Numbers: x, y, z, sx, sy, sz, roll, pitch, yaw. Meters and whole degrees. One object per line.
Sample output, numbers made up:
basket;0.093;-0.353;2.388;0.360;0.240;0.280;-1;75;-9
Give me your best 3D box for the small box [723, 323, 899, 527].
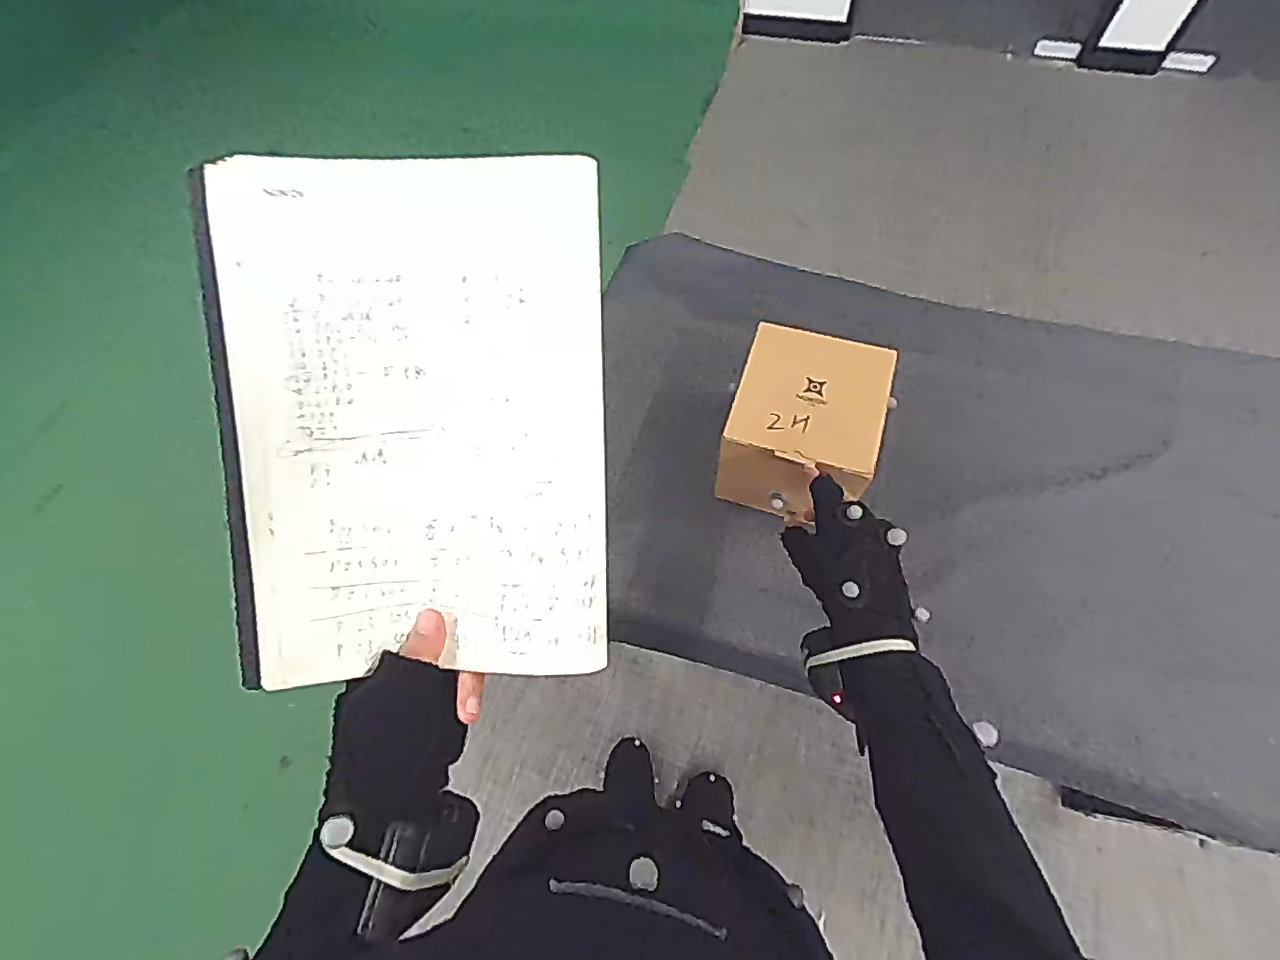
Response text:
small box;0.208;-0.065;0.692;0.168;0.176;0.179;16;67;12
